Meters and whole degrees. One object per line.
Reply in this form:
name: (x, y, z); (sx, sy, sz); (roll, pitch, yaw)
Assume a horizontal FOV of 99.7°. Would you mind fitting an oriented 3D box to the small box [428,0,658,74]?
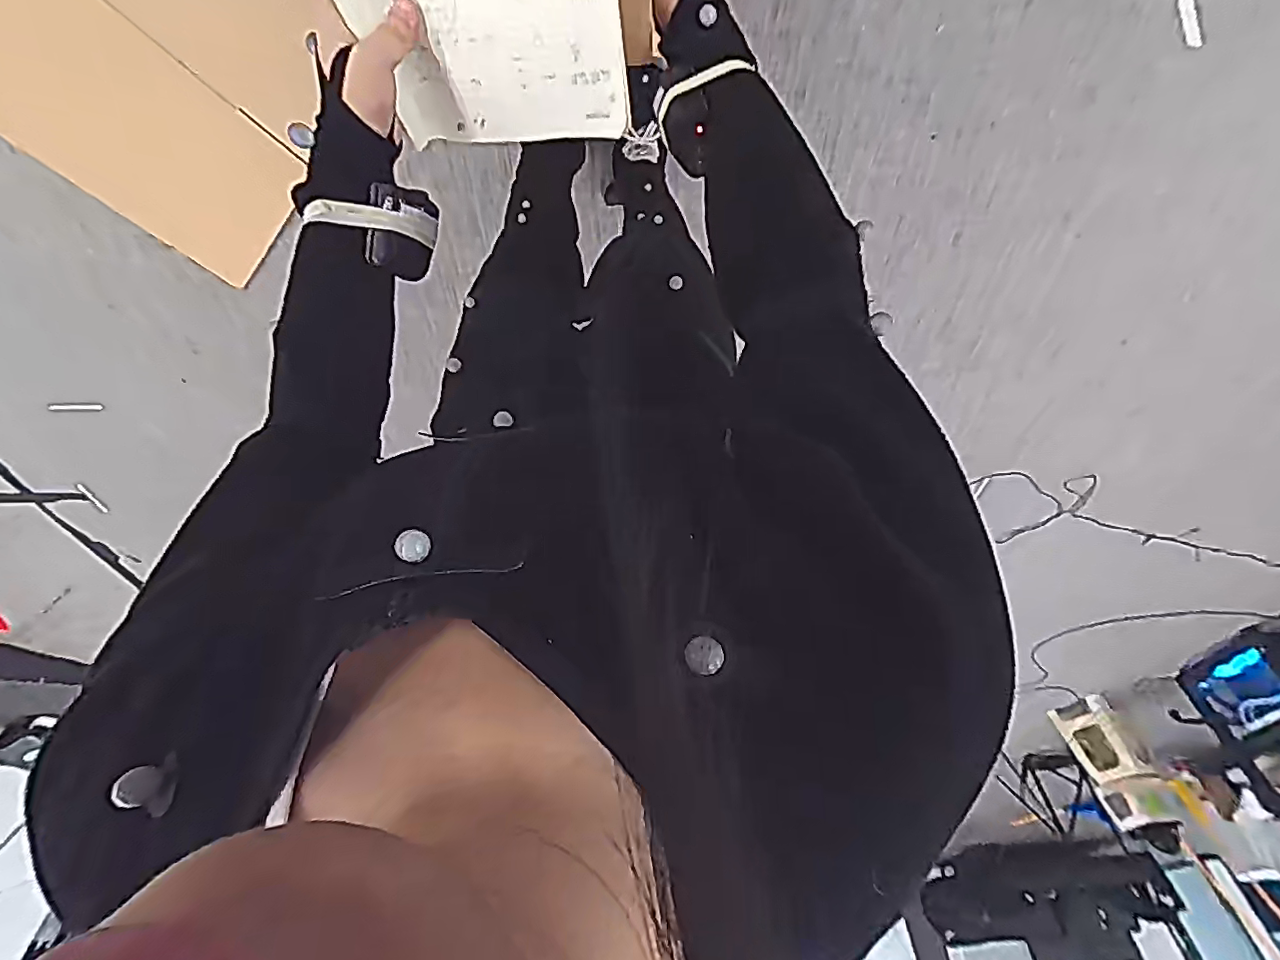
small box: (-0.074, -0.429, 0.410); (0.168, 0.176, 0.179); (-3, 135, -1)
